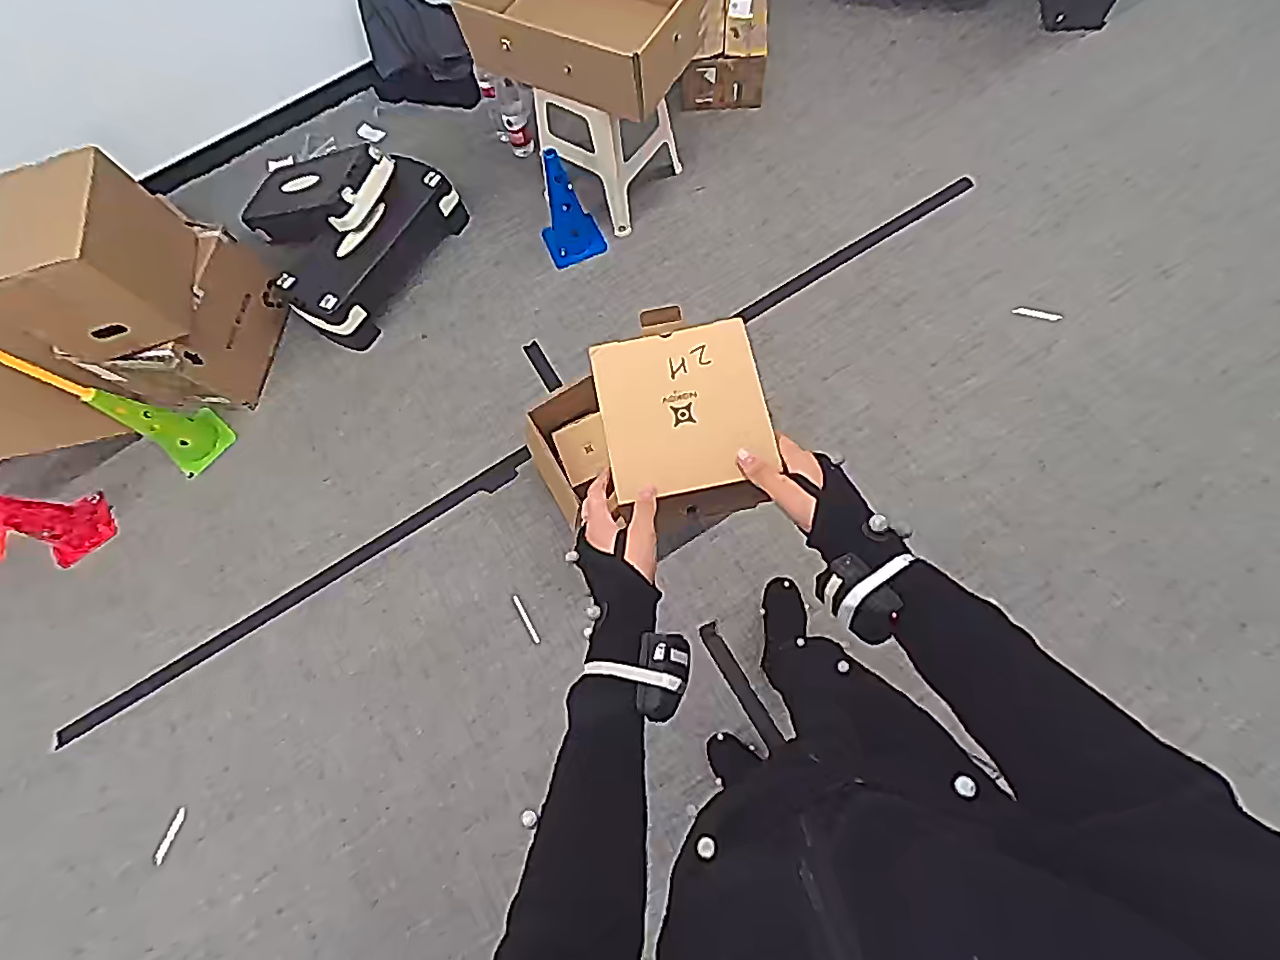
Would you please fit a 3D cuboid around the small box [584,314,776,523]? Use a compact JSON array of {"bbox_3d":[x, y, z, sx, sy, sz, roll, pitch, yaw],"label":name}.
[{"bbox_3d":[0.040,-0.055,0.611,0.168,0.176,0.179,-11,75,-1],"label":"small box"}]
